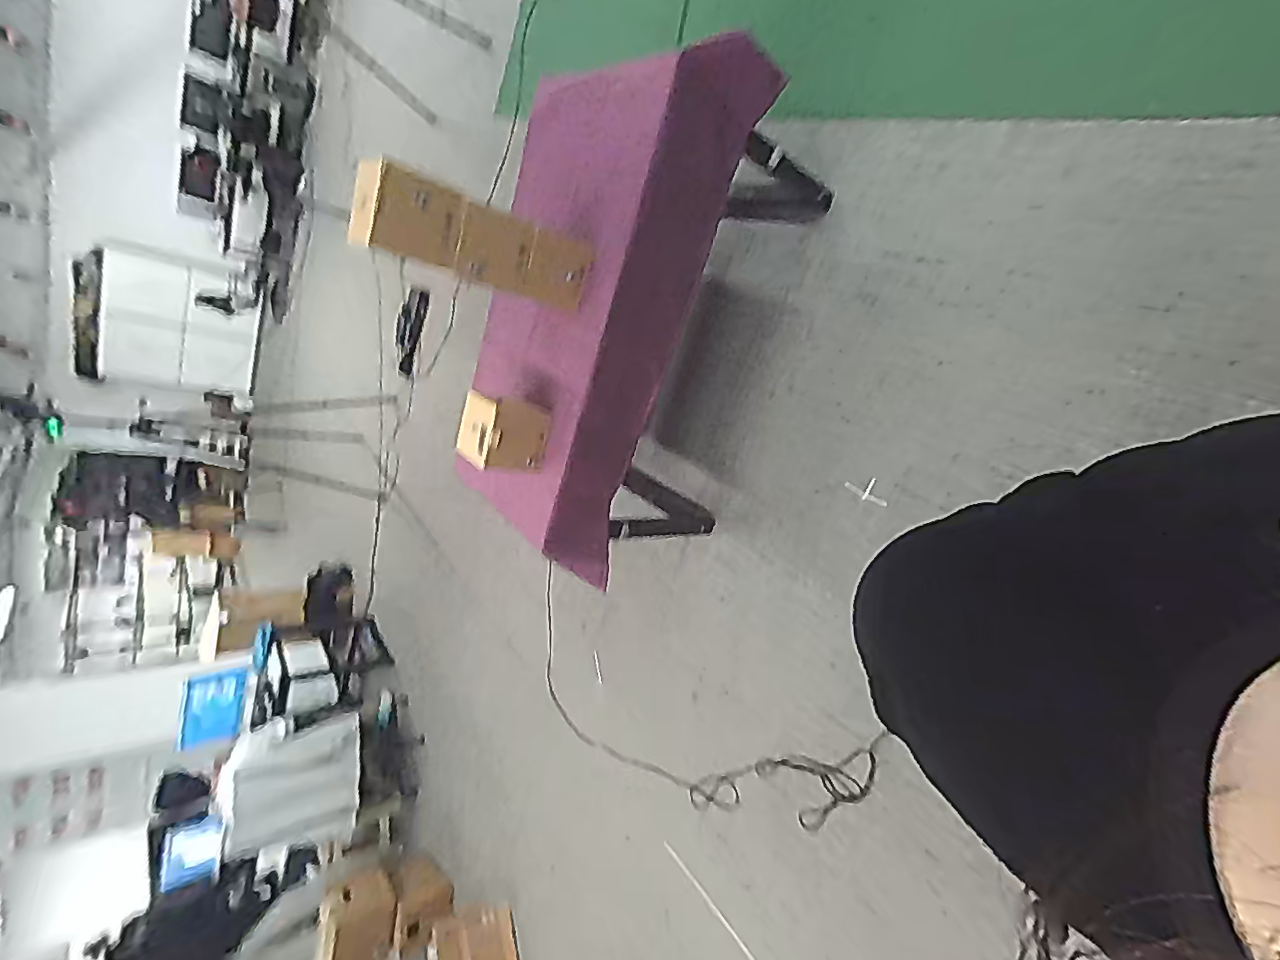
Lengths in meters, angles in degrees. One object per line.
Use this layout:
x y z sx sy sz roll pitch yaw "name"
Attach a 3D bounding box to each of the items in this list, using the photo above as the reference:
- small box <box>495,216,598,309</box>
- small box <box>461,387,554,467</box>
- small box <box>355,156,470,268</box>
-0.236 -0.544 1.362 0.179 0.176 0.168 35 113 42 "small box"
-0.357 -0.140 1.462 0.179 0.176 0.168 31 109 44 "small box"
-0.480 -0.562 1.143 0.179 0.176 0.168 32 109 44 "small box"
